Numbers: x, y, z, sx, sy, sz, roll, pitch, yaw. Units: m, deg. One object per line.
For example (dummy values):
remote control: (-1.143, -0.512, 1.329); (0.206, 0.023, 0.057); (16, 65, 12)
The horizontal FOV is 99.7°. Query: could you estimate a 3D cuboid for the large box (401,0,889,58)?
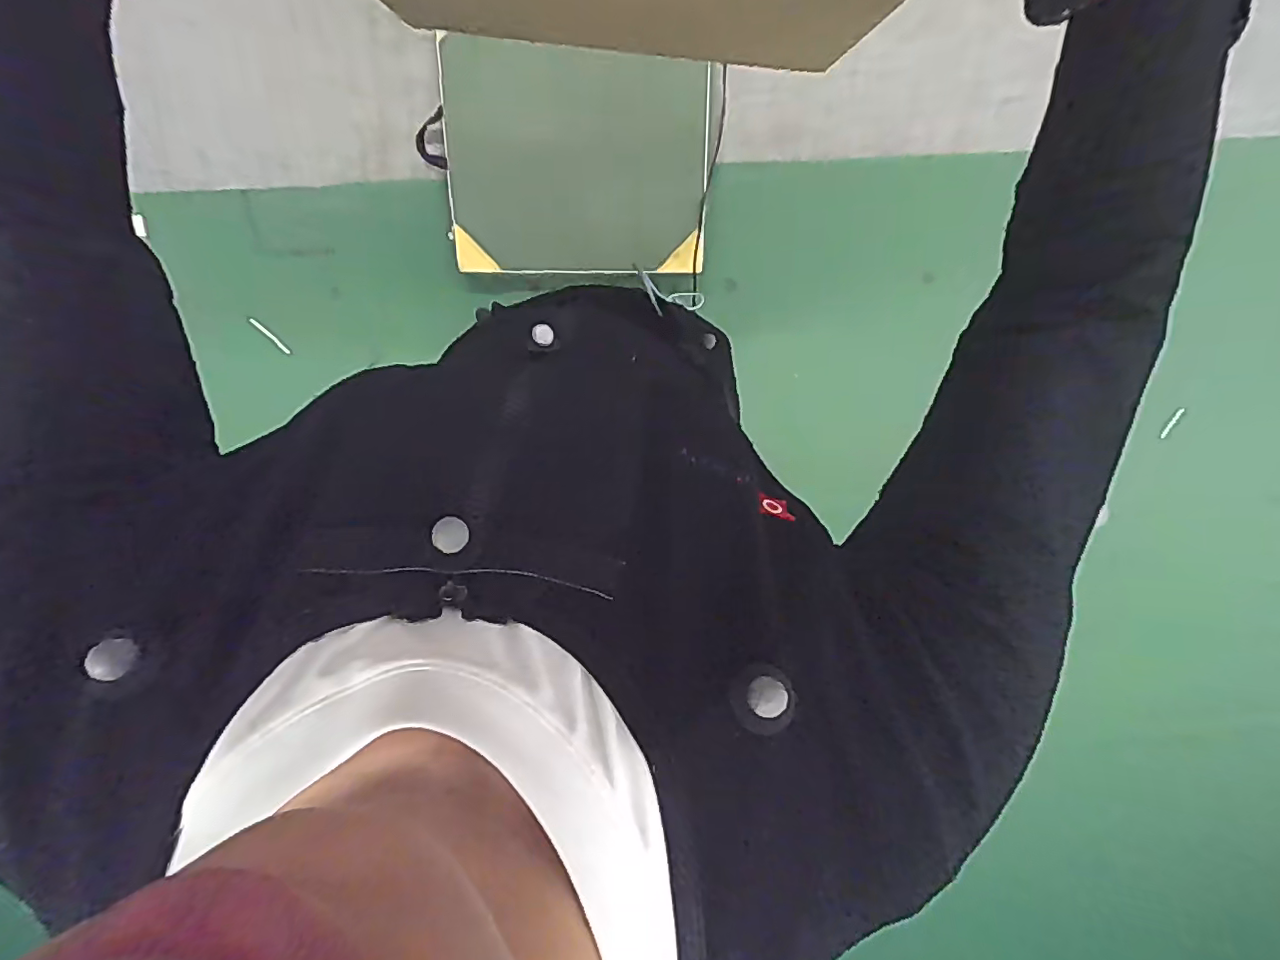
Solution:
large box: (-0.003, -0.493, 0.318); (0.408, 0.320, 0.320); (5, 116, -2)
